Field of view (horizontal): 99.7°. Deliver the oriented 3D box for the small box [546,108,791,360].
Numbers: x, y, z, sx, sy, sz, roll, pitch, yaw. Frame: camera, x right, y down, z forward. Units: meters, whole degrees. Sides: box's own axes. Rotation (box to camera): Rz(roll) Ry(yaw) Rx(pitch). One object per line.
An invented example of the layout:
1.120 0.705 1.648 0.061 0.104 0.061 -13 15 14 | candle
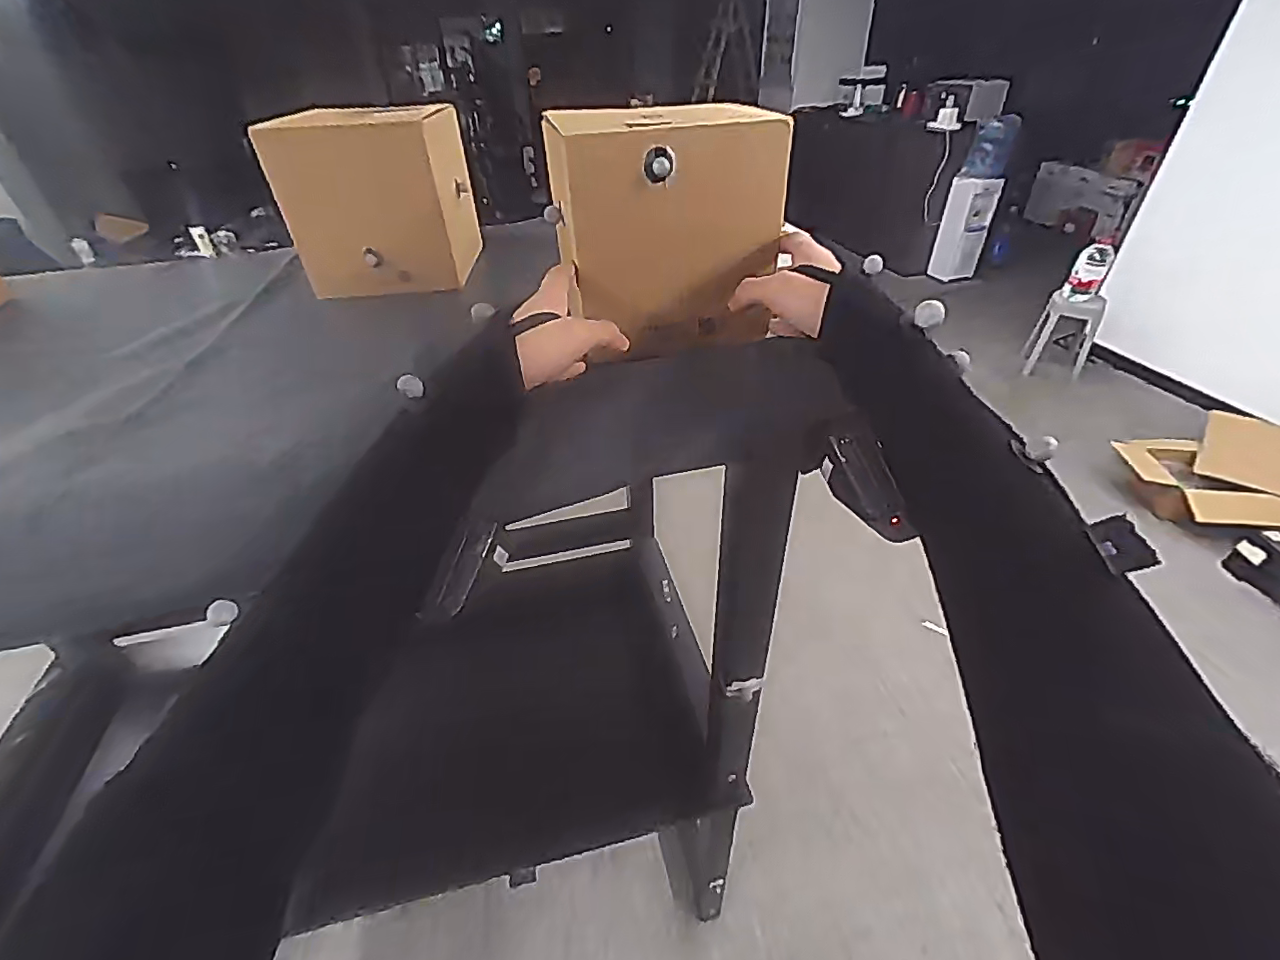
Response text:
0.014 -0.222 0.481 0.168 0.176 0.179 -10 38 -8 | small box
